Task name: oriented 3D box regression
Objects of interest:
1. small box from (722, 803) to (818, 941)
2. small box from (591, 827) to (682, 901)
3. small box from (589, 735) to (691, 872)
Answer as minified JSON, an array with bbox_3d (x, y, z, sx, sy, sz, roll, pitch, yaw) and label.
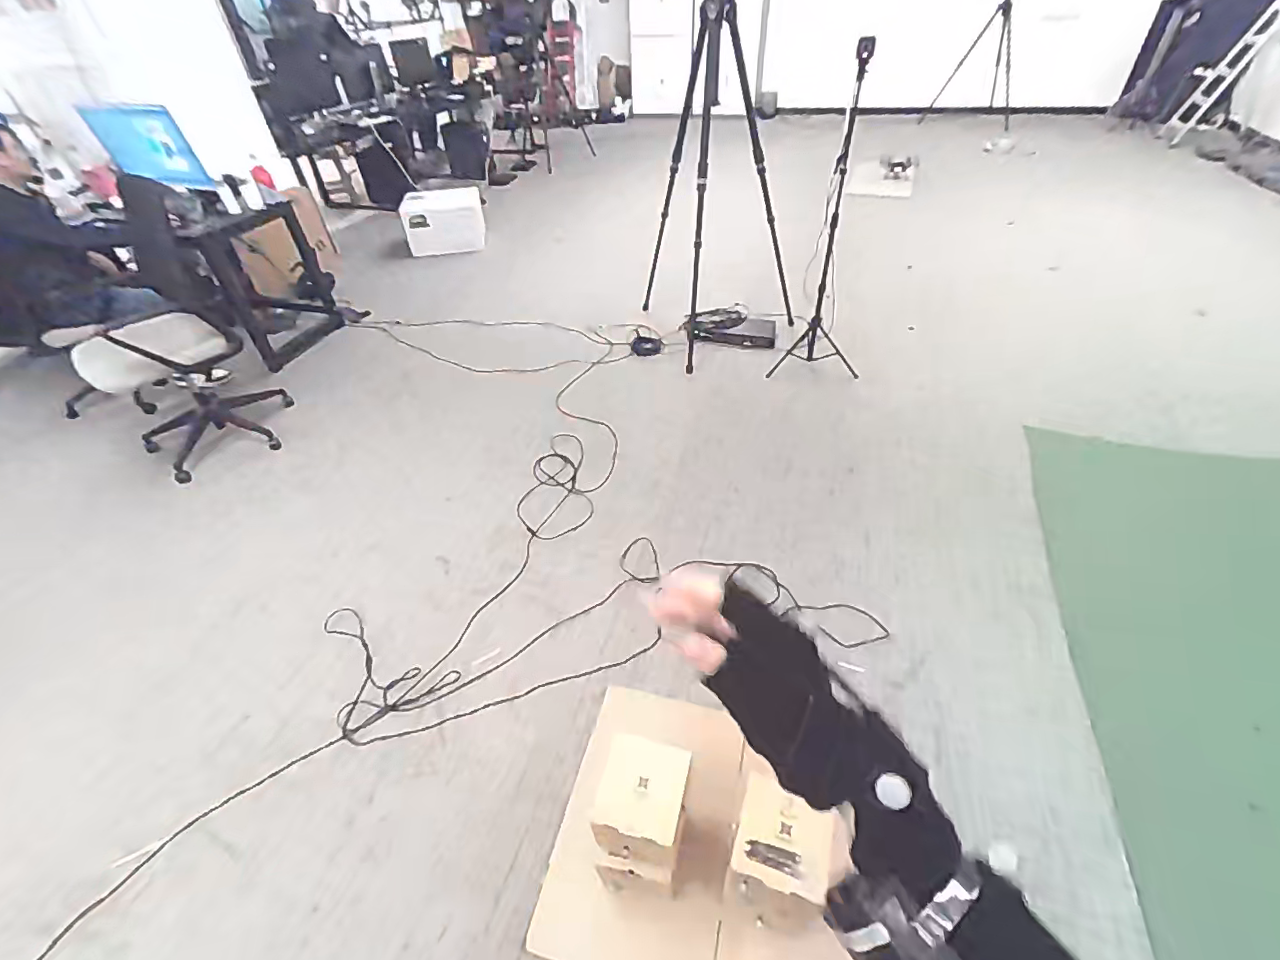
[{"bbox_3d":[0.274,0.839,1.158,0.168,0.176,0.179,11,45,17],"label":"small box"},{"bbox_3d":[0.001,0.807,1.209,0.168,0.176,0.179,7,43,12],"label":"small box"},{"bbox_3d":[0.006,0.668,1.118,0.168,0.176,0.179,9,43,14],"label":"small box"}]
